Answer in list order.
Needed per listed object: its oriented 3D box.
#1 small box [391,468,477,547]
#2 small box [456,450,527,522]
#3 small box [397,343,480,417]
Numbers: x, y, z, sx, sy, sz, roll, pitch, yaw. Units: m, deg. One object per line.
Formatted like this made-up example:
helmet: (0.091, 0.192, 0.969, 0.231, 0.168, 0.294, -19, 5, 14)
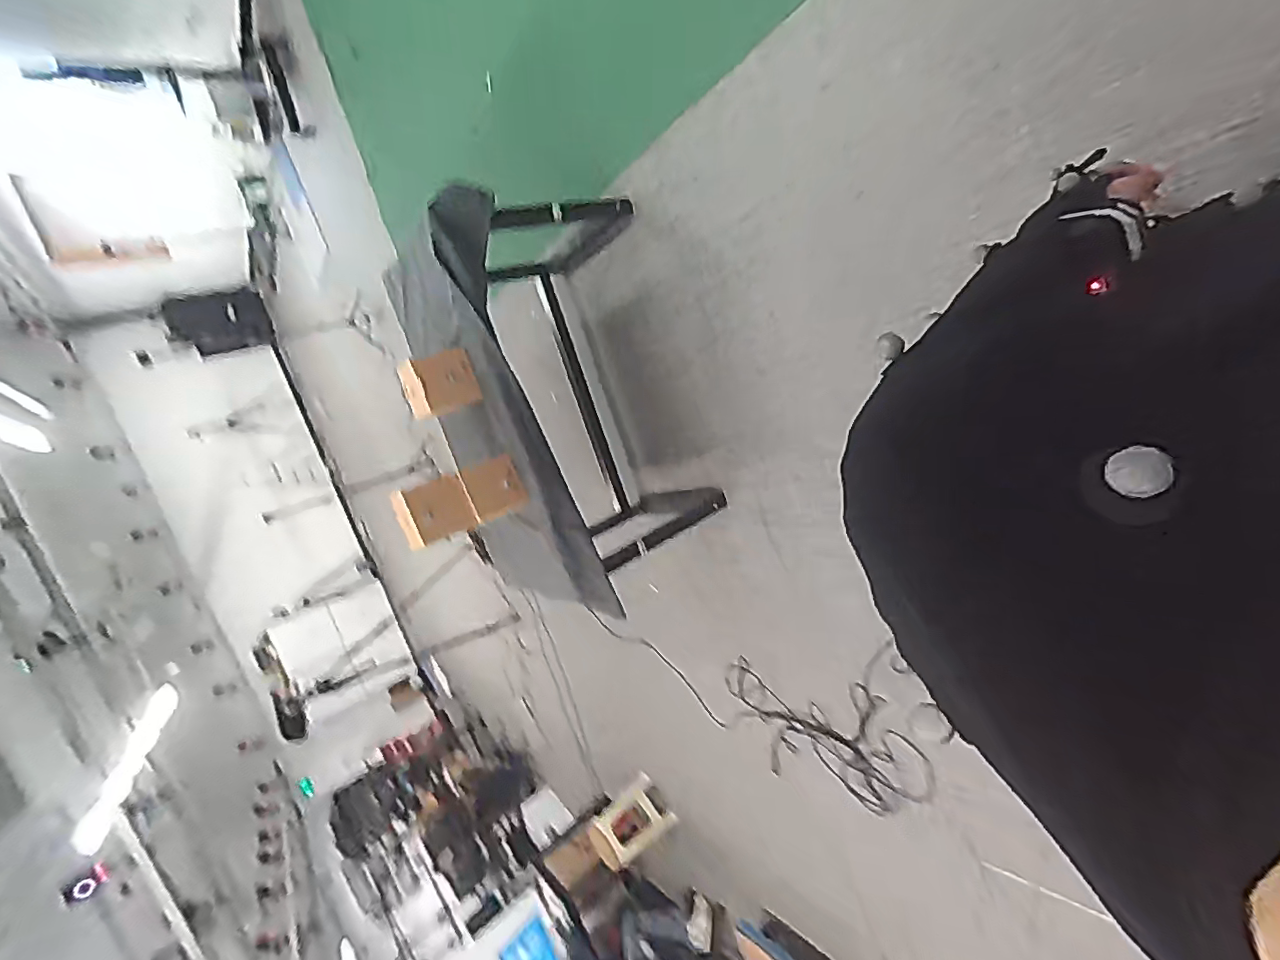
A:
small box: (-0.604, 0.081, 1.597, 0.168, 0.176, 0.179, -17, 96, 54)
small box: (-0.473, 0.025, 1.677, 0.179, 0.176, 0.168, -24, 91, 55)
small box: (-0.611, -0.306, 1.652, 0.179, 0.176, 0.168, -6, 106, 54)
